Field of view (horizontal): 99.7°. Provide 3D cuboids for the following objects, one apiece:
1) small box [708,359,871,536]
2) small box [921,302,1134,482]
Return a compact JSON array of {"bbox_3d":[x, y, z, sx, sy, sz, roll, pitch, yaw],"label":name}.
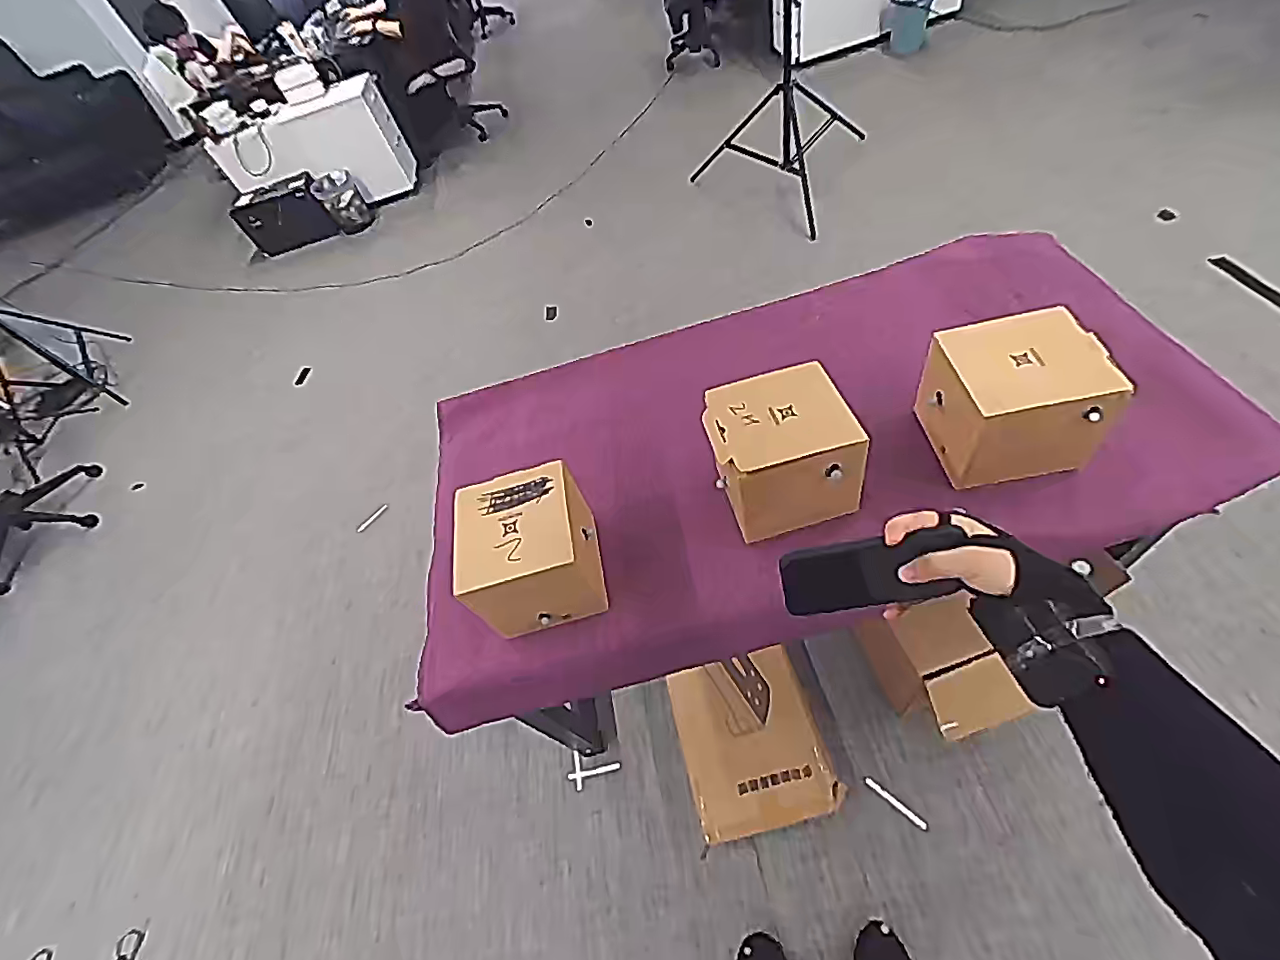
[{"bbox_3d":[0.212,-0.043,0.796,0.179,0.176,0.168,-17,50,3],"label":"small box"},{"bbox_3d":[0.520,-0.116,0.766,0.179,0.176,0.168,-11,53,7],"label":"small box"}]
